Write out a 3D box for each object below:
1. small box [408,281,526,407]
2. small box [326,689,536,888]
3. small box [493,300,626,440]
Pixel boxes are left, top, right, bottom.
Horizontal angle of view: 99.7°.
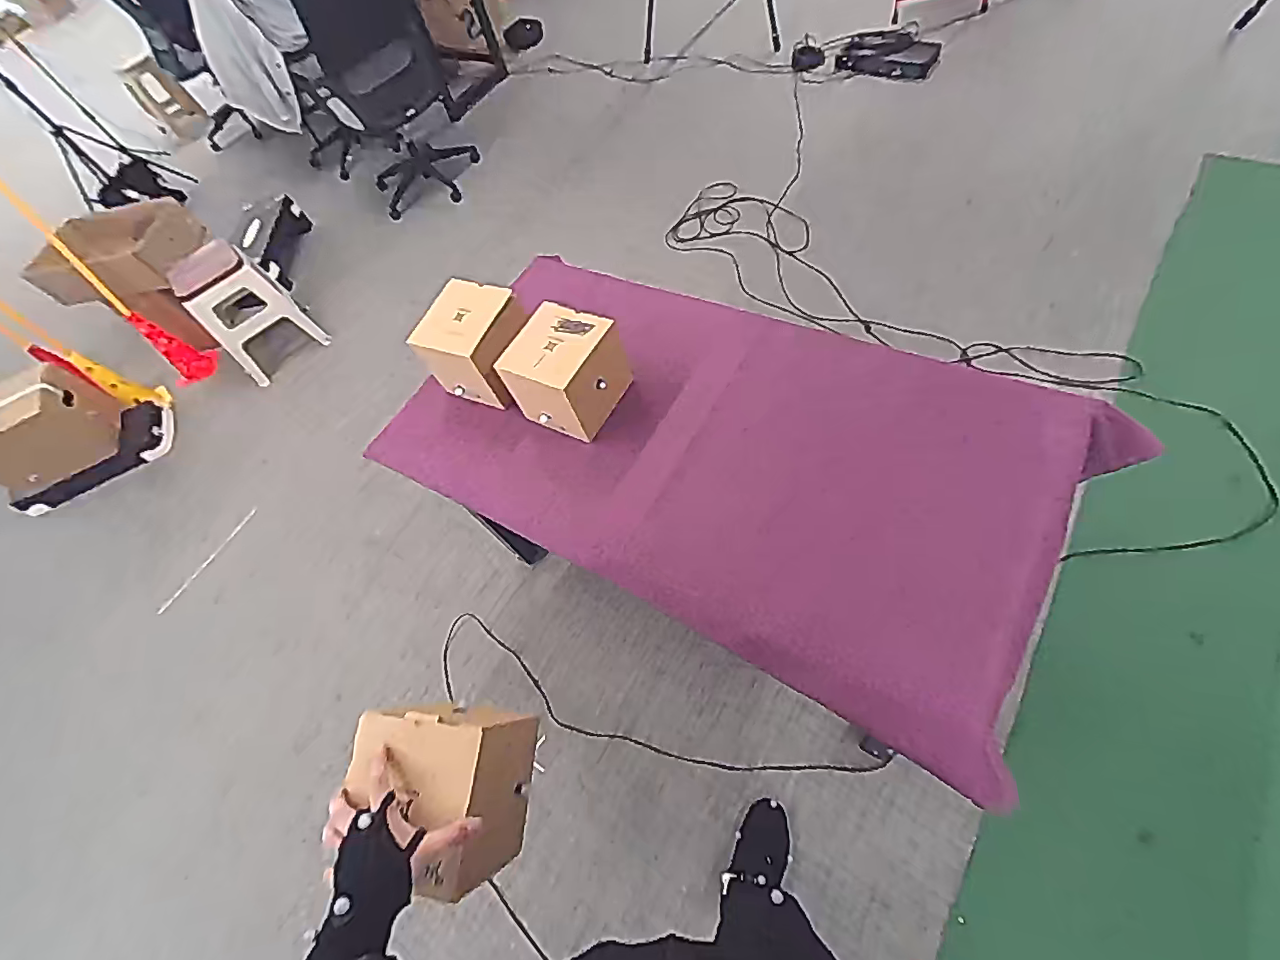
[{"bbox_3d":[-0.338,-0.284,1.140,0.168,0.176,0.179,18,67,23],"label":"small box"},{"bbox_3d":[-0.248,0.370,0.688,0.168,0.176,0.179,3,73,16],"label":"small box"},{"bbox_3d":[-0.143,-0.210,1.049,0.168,0.176,0.179,23,69,25],"label":"small box"}]
